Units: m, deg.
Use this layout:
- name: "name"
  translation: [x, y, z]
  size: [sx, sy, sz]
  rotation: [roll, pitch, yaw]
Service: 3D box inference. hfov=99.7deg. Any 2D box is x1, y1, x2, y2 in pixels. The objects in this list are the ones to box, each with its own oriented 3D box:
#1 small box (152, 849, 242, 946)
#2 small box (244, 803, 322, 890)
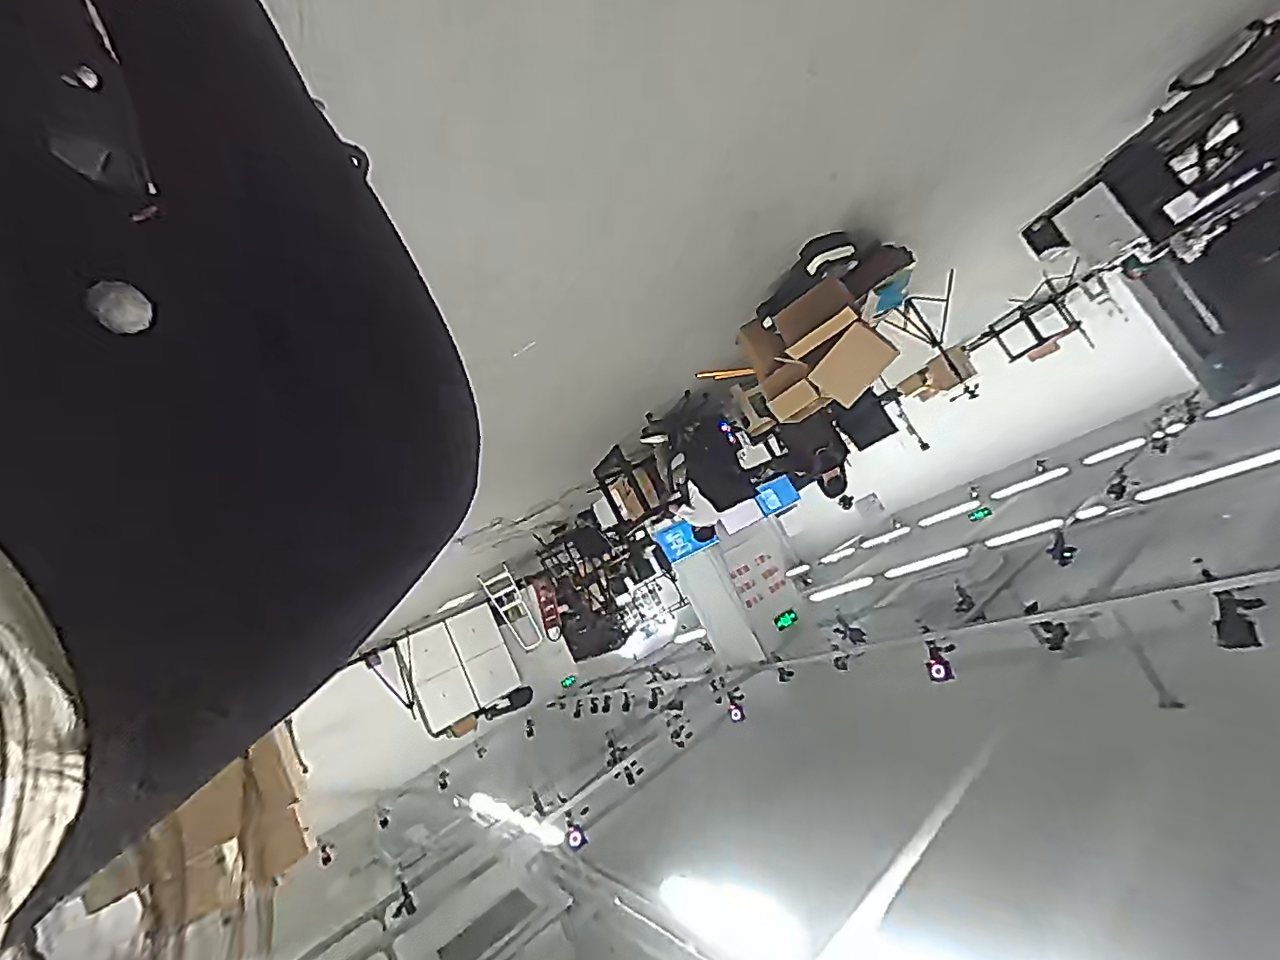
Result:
- name: "small box"
  translation: [-1.407, 1.316, 1.720]
  size: [0.168, 0.176, 0.179]
  rotation: [-21, 165, -32]
- name: "small box"
  translation: [-1.209, 1.233, 1.834]
  size: [0.168, 0.176, 0.179]
  rotation: [-21, 167, -29]
